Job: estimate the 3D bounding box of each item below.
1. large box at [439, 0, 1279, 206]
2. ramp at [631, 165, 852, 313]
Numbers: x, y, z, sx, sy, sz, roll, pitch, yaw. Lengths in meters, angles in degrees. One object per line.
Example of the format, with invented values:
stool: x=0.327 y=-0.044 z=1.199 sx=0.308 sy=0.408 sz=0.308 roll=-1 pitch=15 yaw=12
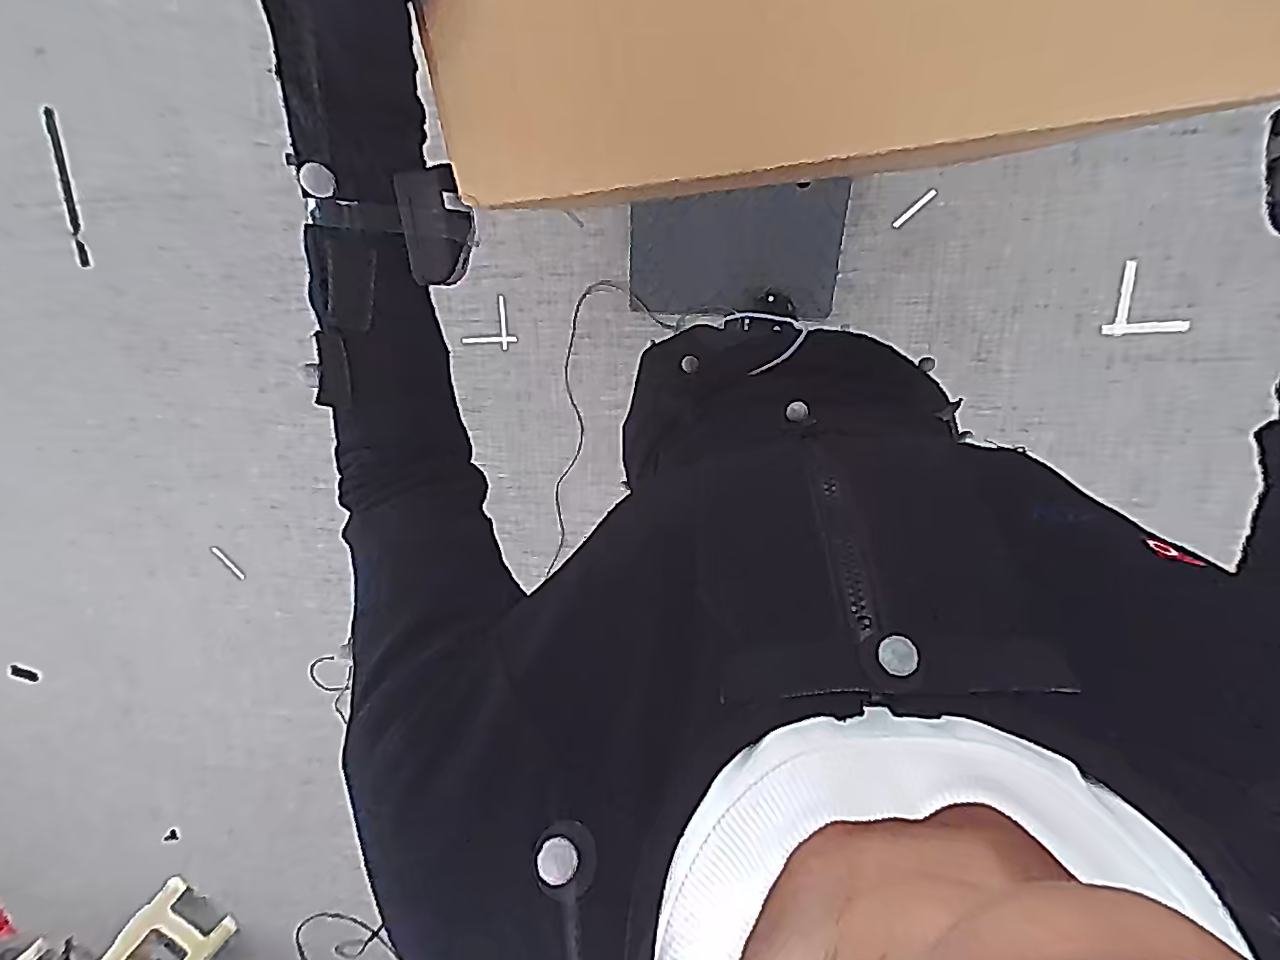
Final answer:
large box: x=0.101 y=-0.376 z=0.344 sx=0.408 sy=0.320 sz=0.320 roll=-4 pitch=117 yaw=9
ramp: x=0.222 y=-0.867 z=1.117 sx=0.509 sy=0.206 sz=0.991 roll=3 pitch=107 yaw=7
